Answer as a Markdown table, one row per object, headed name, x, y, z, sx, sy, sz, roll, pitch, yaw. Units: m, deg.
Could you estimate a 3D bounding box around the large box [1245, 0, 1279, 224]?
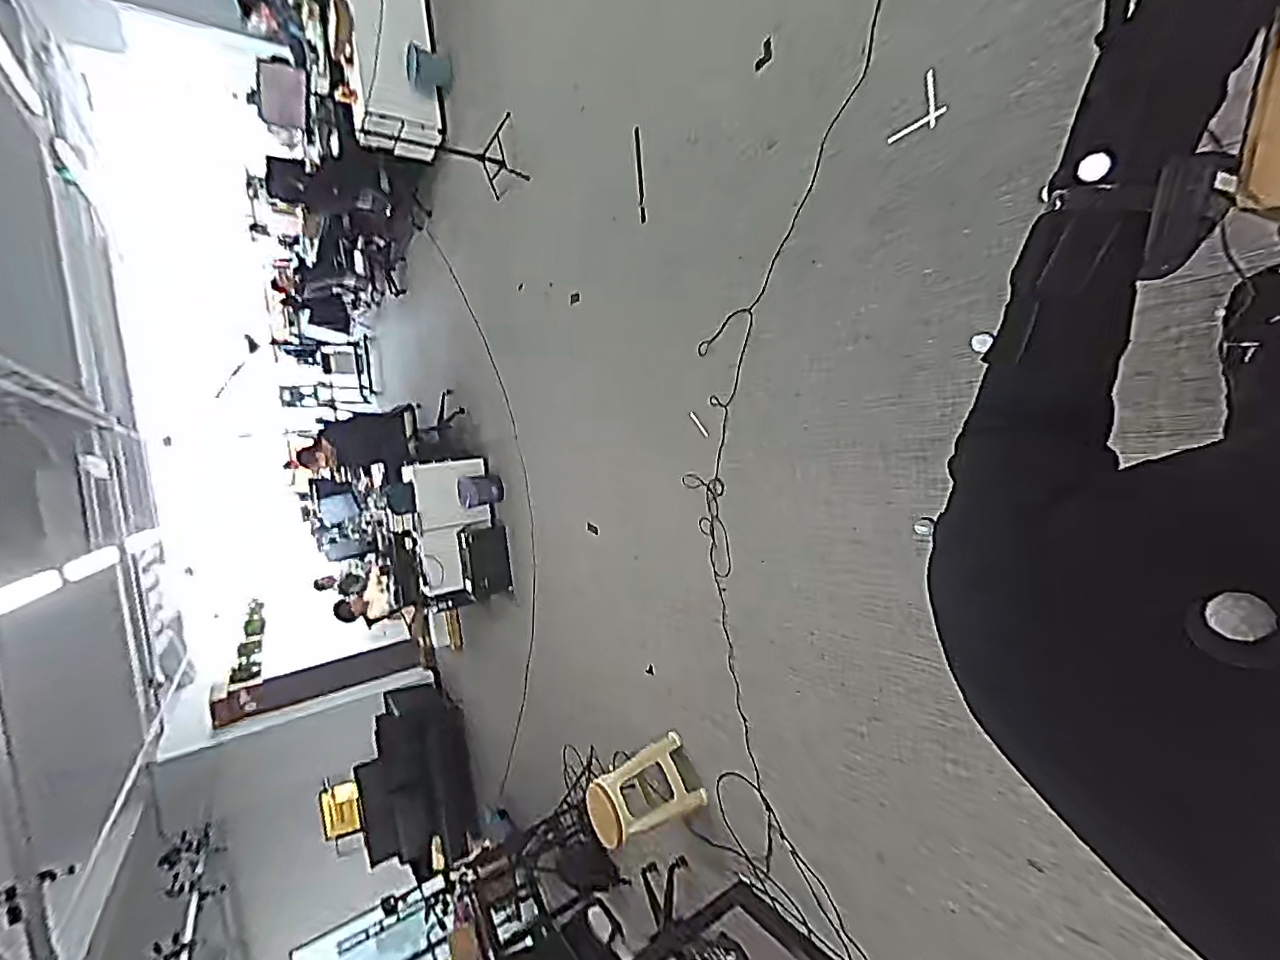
| name | x | y | z | sx | sy | sz | roll | pitch | yaw |
| --- | --- | --- | --- | --- | --- | --- | --- | --- | --- |
| large box | 0.584 | -0.314 | 0.223 | 0.408 | 0.320 | 0.320 | 14 | 116 | 49 |
